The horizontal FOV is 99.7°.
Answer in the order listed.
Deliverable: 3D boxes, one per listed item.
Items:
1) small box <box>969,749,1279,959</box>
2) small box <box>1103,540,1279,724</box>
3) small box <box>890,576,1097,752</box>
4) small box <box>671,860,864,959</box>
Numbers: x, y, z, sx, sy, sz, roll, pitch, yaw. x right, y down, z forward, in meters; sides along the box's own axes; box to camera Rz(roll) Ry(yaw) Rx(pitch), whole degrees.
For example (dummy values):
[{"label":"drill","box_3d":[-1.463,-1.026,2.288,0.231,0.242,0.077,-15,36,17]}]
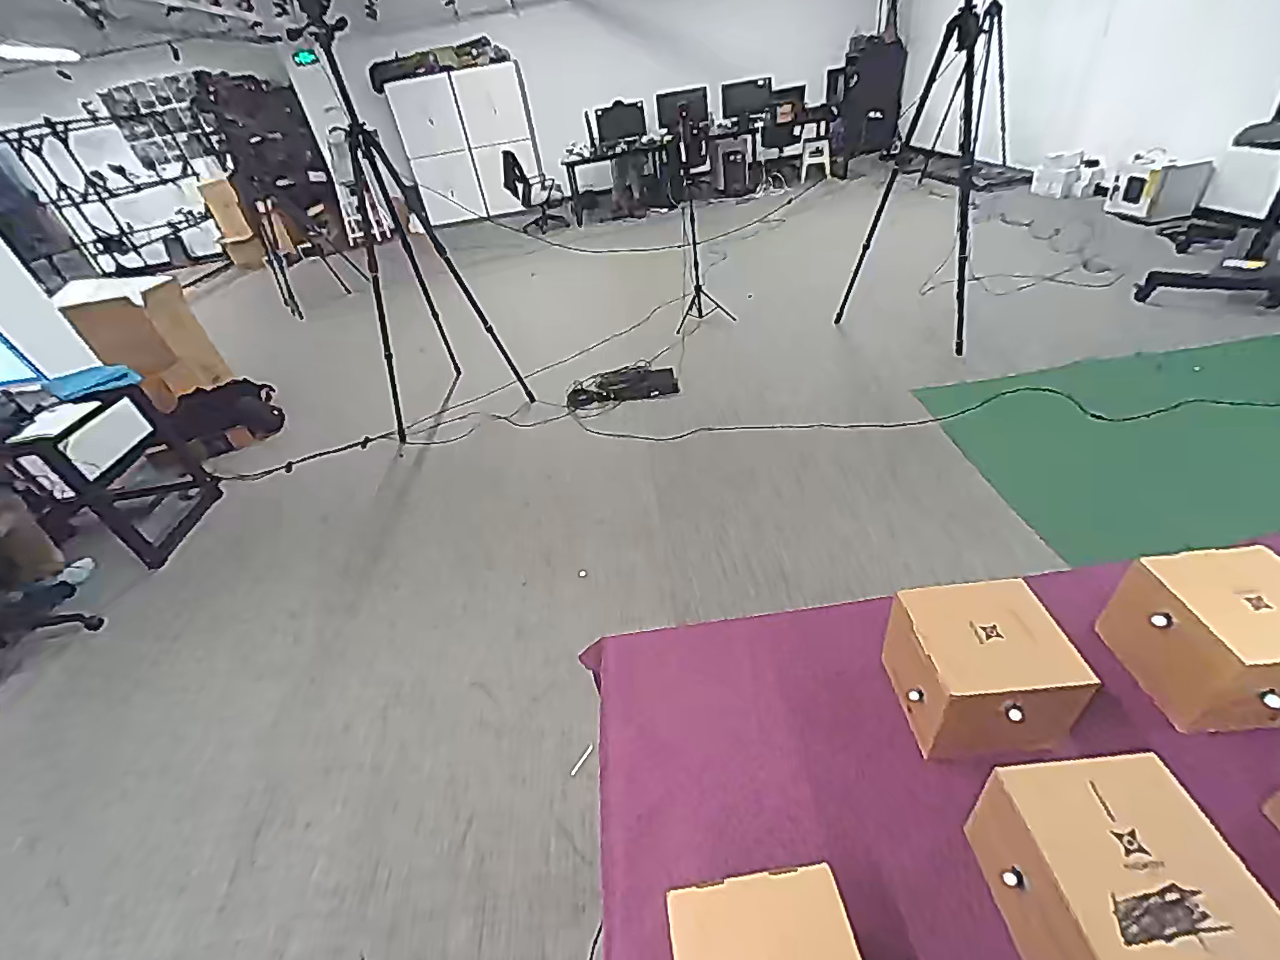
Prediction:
[{"label":"small box","box_3d":[0.471,0.406,0.549,0.168,0.176,0.179,-8,36,4]},{"label":"small box","box_3d":[0.787,0.208,0.727,0.168,0.176,0.179,-8,36,6]},{"label":"small box","box_3d":[0.464,0.257,0.749,0.179,0.176,0.168,-7,38,5]},{"label":"small box","box_3d":[0.128,0.503,0.512,0.168,0.176,0.179,-11,36,0]}]
